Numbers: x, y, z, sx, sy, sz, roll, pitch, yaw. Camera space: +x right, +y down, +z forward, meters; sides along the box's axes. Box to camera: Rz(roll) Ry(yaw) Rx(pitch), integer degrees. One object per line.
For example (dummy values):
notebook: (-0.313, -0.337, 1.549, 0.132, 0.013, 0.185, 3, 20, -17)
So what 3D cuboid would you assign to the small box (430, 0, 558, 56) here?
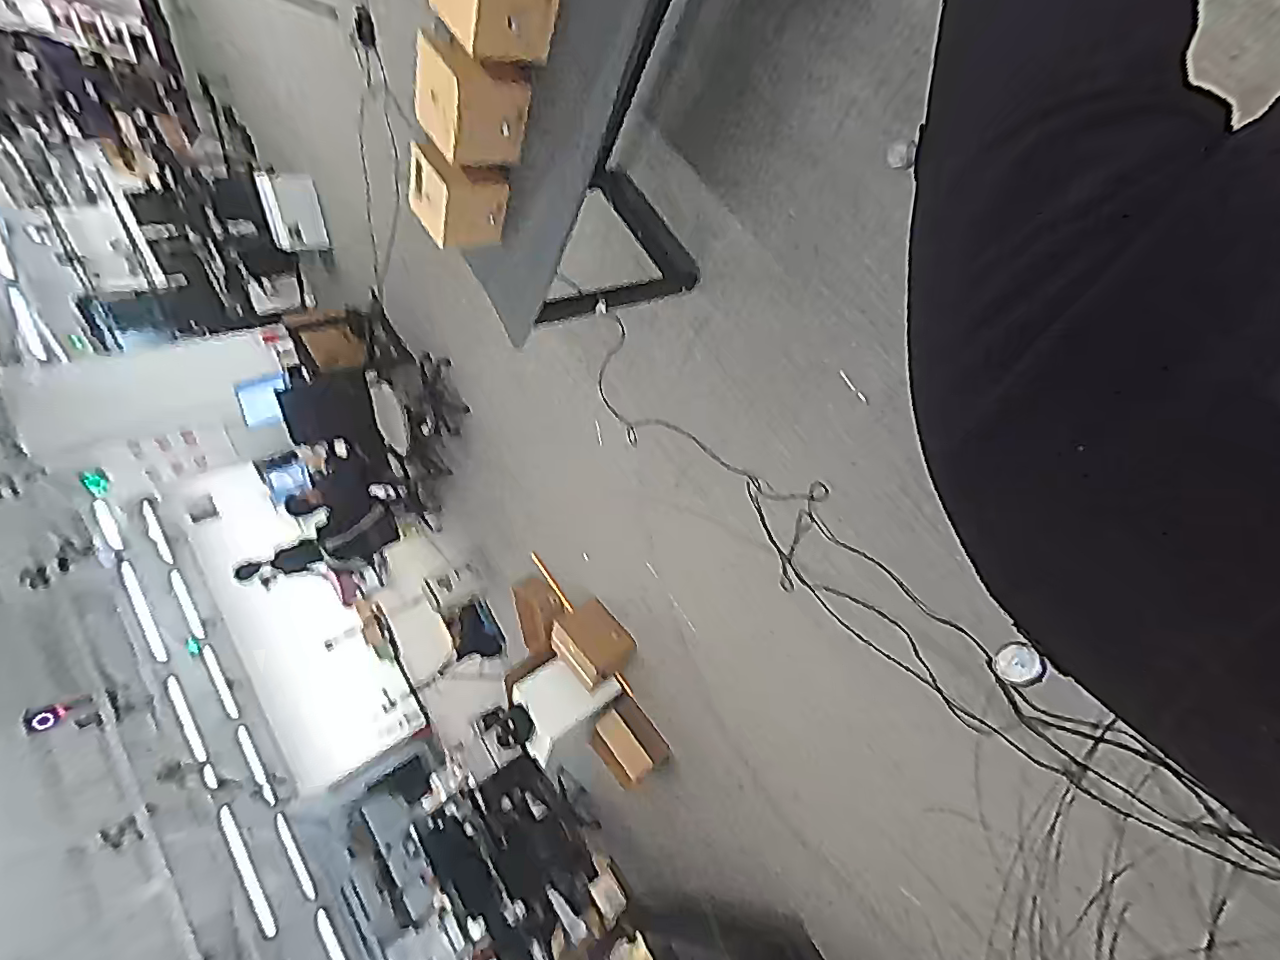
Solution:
small box: (-0.261, -0.908, 0.981, 0.179, 0.176, 0.168, 55, 144, 14)

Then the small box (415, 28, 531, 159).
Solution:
small box: (-0.361, -0.818, 1.160, 0.179, 0.176, 0.168, 54, 144, 15)
